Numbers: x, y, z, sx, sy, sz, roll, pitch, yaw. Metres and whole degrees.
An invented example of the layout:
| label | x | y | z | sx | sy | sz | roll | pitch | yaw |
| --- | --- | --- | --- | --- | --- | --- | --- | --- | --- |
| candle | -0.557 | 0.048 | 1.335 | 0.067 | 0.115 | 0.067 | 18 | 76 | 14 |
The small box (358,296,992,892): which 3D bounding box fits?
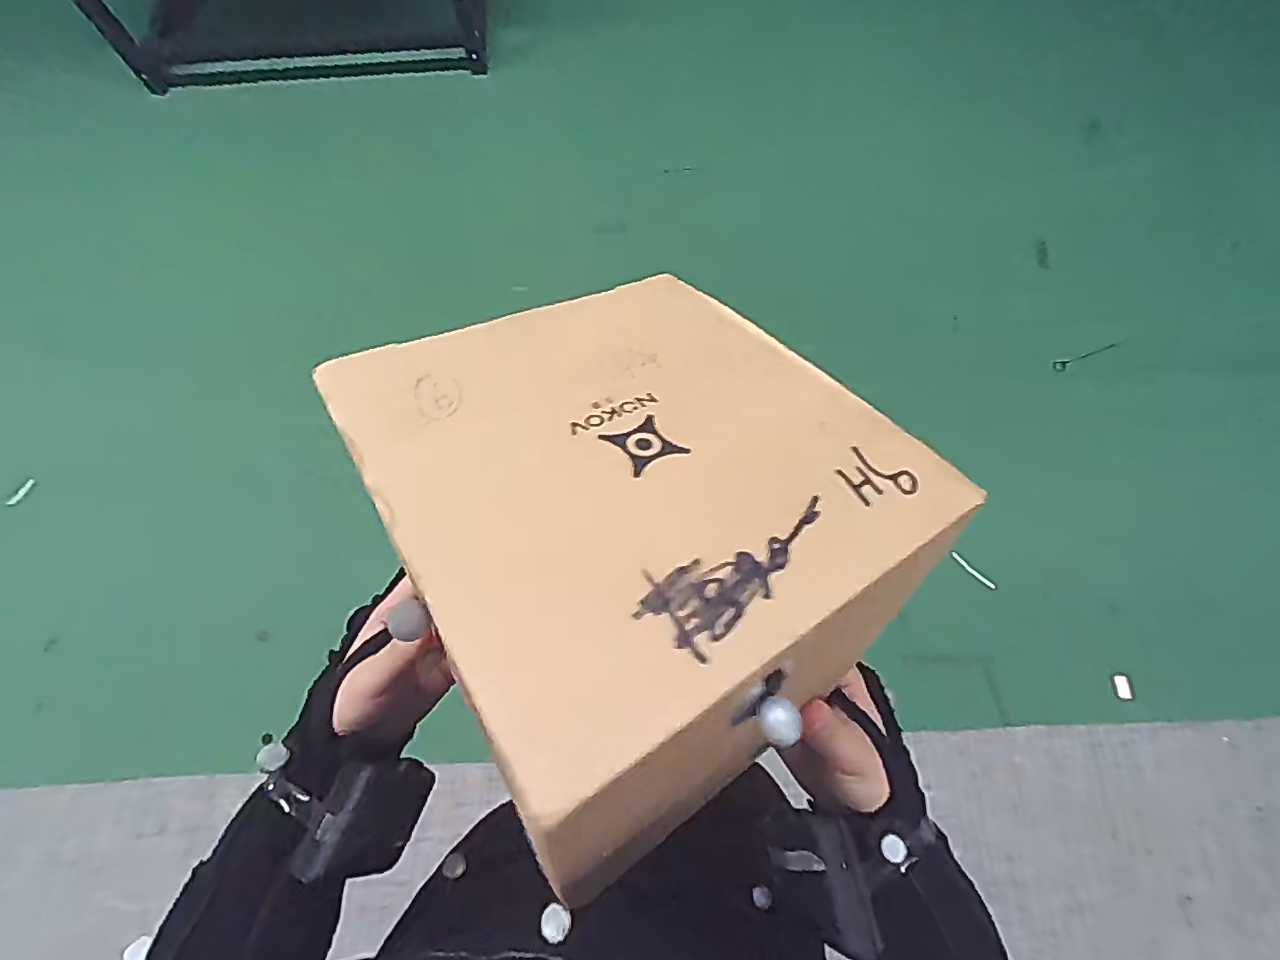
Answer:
| label | x | y | z | sx | sy | sz | roll | pitch | yaw |
| --- | --- | --- | --- | --- | --- | --- | --- | --- | --- |
| small box | 0.001 | 0.045 | 0.252 | 0.168 | 0.176 | 0.179 | -27 | 54 | -26 |
